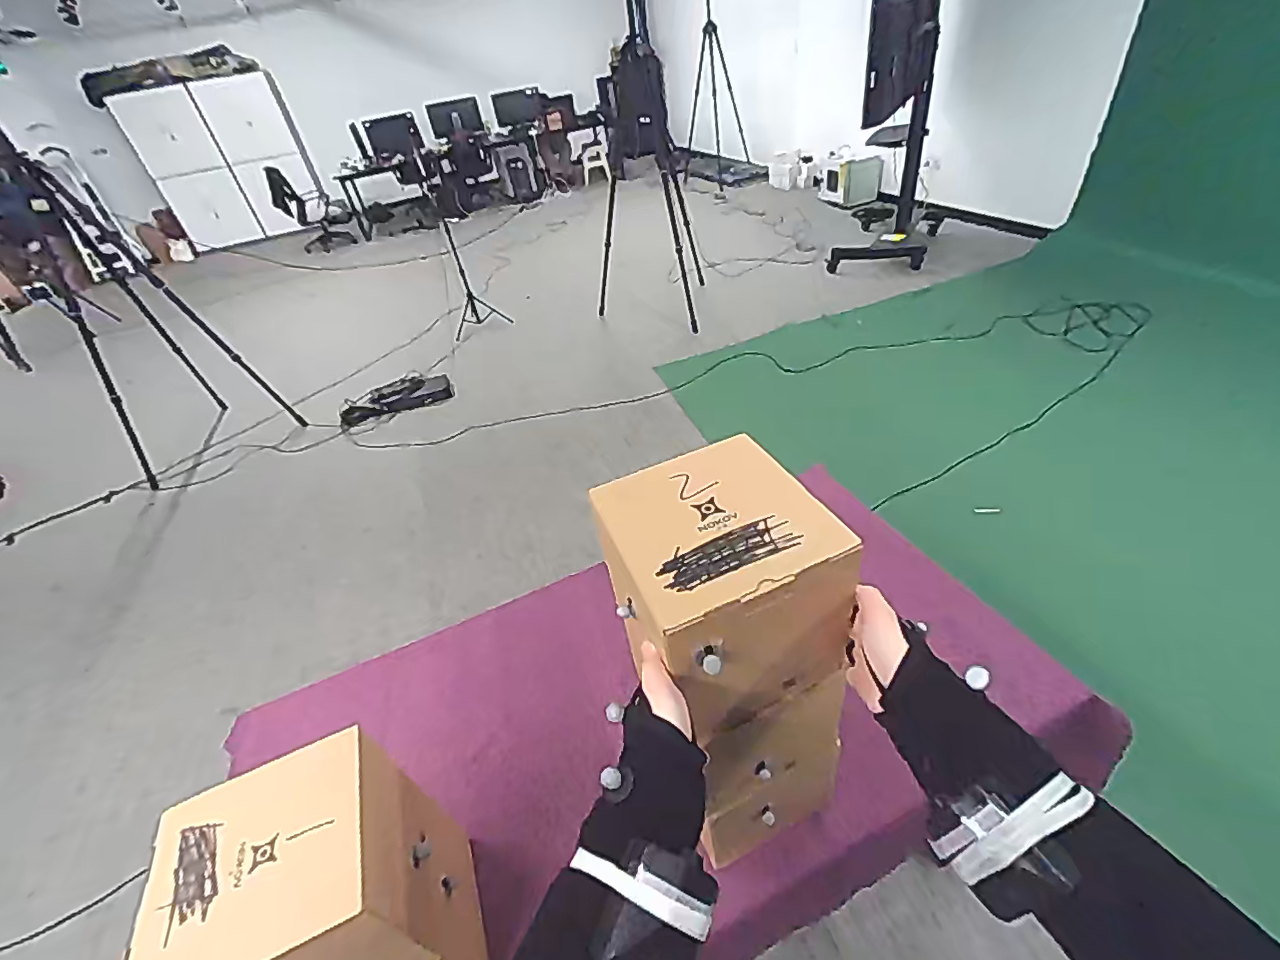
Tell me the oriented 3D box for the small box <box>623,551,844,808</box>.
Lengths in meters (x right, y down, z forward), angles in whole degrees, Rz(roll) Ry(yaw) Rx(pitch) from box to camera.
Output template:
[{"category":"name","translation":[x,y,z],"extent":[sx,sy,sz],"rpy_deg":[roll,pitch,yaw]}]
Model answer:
[{"category":"small box","translation":[0.096,0.216,0.599],"extent":[0.168,0.176,0.179],"rpy_deg":[-21,41,-12]}]

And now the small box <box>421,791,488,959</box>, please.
[{"category":"small box","translation":[-0.283,0.498,0.606],"extent":[0.168,0.176,0.179],"rpy_deg":[-21,40,-13]}]

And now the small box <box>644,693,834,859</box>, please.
[{"category":"small box","translation":[0.127,0.343,0.697],"extent":[0.179,0.176,0.168],"rpy_deg":[-23,41,-13]}]

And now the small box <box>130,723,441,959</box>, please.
[{"category":"small box","translation":[-0.308,0.373,0.502],"extent":[0.179,0.176,0.168],"rpy_deg":[-21,40,-14]}]
